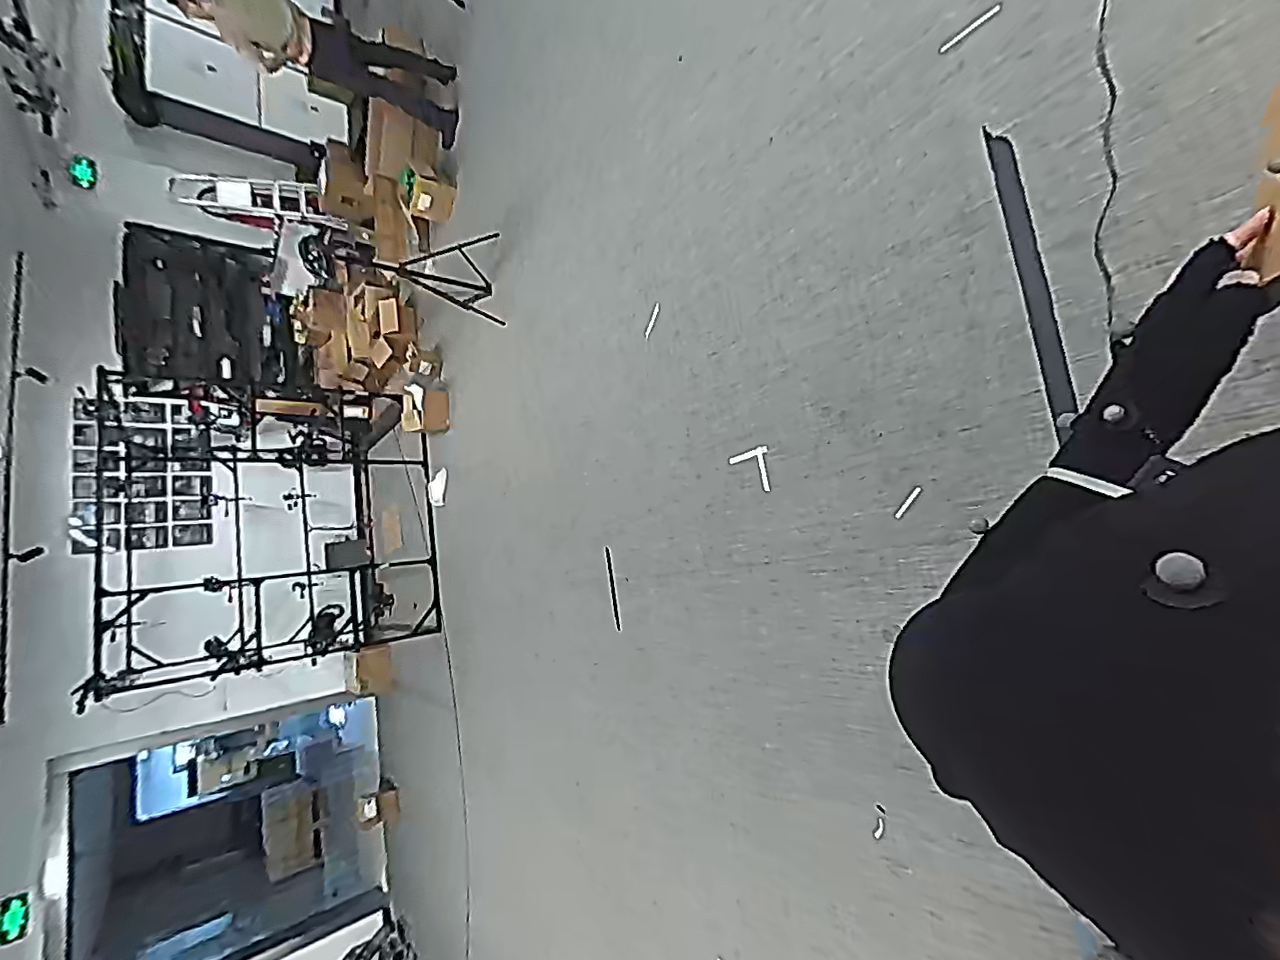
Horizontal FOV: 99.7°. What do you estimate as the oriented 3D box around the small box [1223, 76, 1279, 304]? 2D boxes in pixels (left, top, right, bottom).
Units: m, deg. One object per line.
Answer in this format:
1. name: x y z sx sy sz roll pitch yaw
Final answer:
1. small box: 0.496 -0.208 0.298 0.168 0.179 0.176 11 84 18
